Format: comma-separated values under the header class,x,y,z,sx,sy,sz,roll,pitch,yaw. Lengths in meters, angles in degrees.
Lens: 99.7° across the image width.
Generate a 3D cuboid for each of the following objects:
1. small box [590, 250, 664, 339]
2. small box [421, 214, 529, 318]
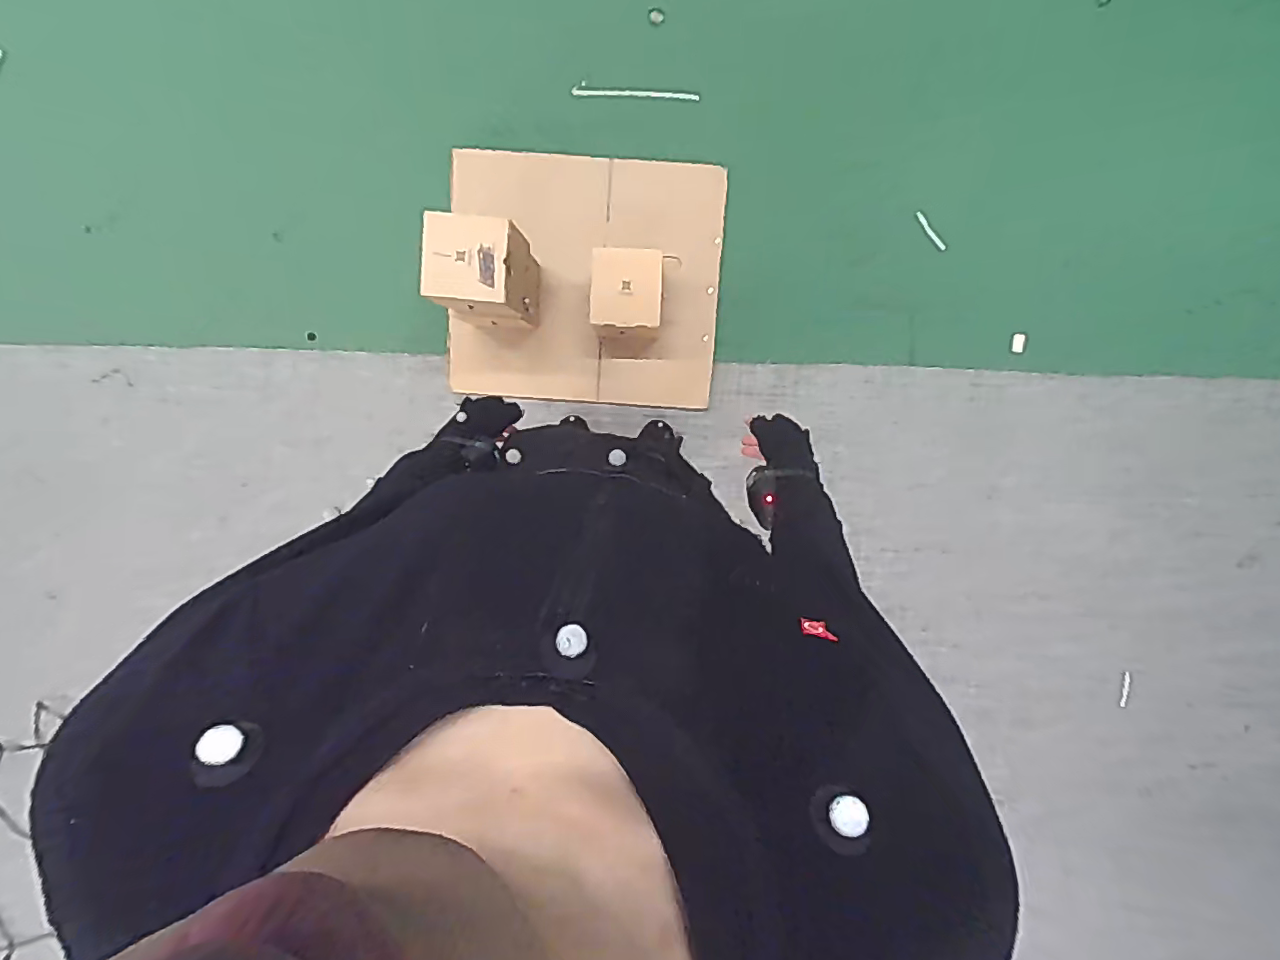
class,x,y,z,sx,sy,sz,roll,pitch,yaw
small box,-0.030,-0.446,1.319,0.168,0.176,0.179,2,98,1
small box,-0.344,-0.447,1.155,0.179,0.176,0.168,7,98,2
